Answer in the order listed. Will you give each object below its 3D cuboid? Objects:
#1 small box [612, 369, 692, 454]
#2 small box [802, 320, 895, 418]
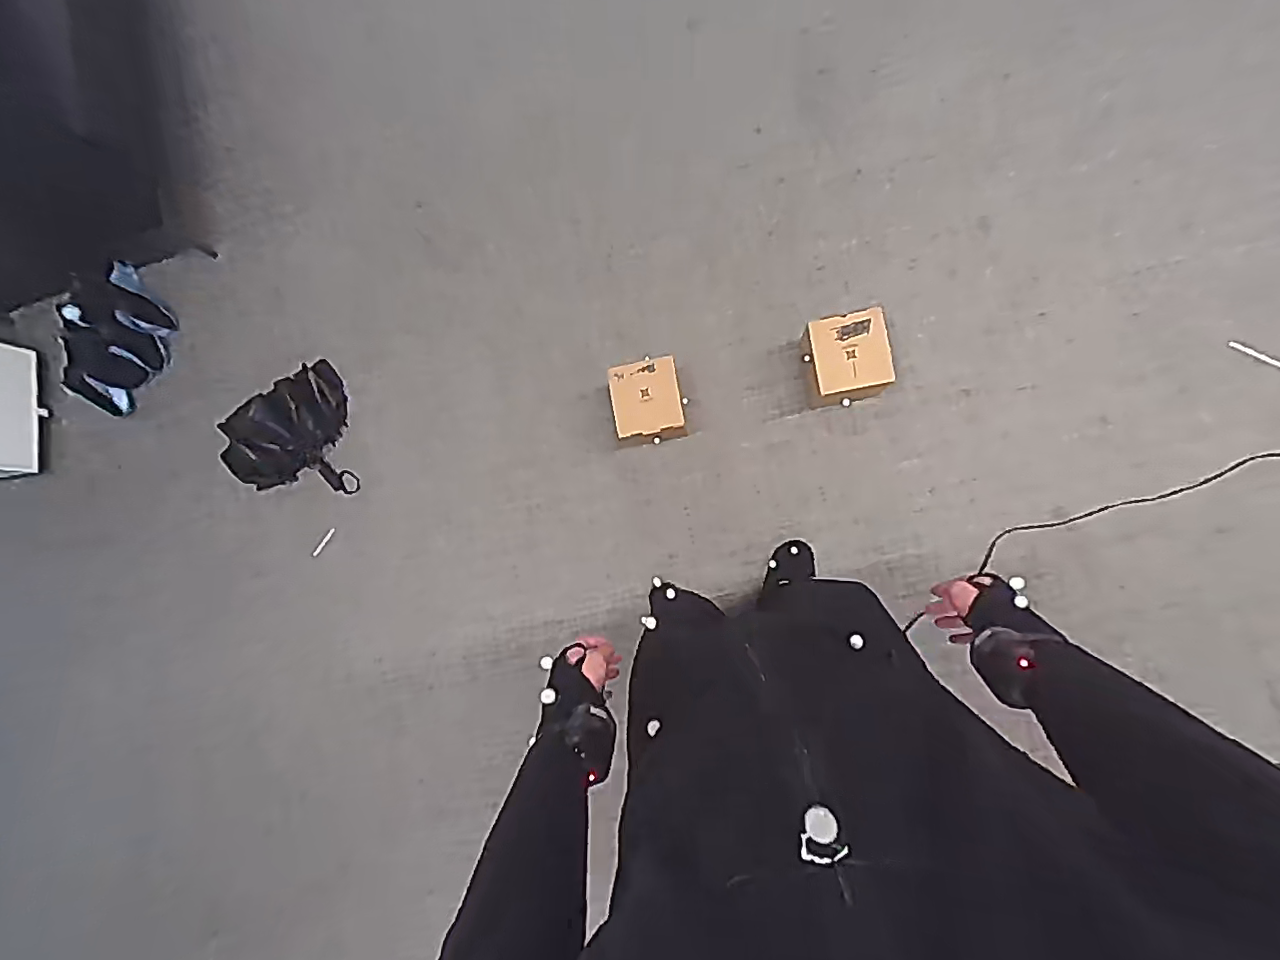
[{"bbox_3d":[0.036,-0.167,1.389,0.168,0.176,0.179,-11,84,9],"label":"small box"},{"bbox_3d":[0.497,-0.262,1.314,0.168,0.176,0.179,-10,85,10],"label":"small box"}]
